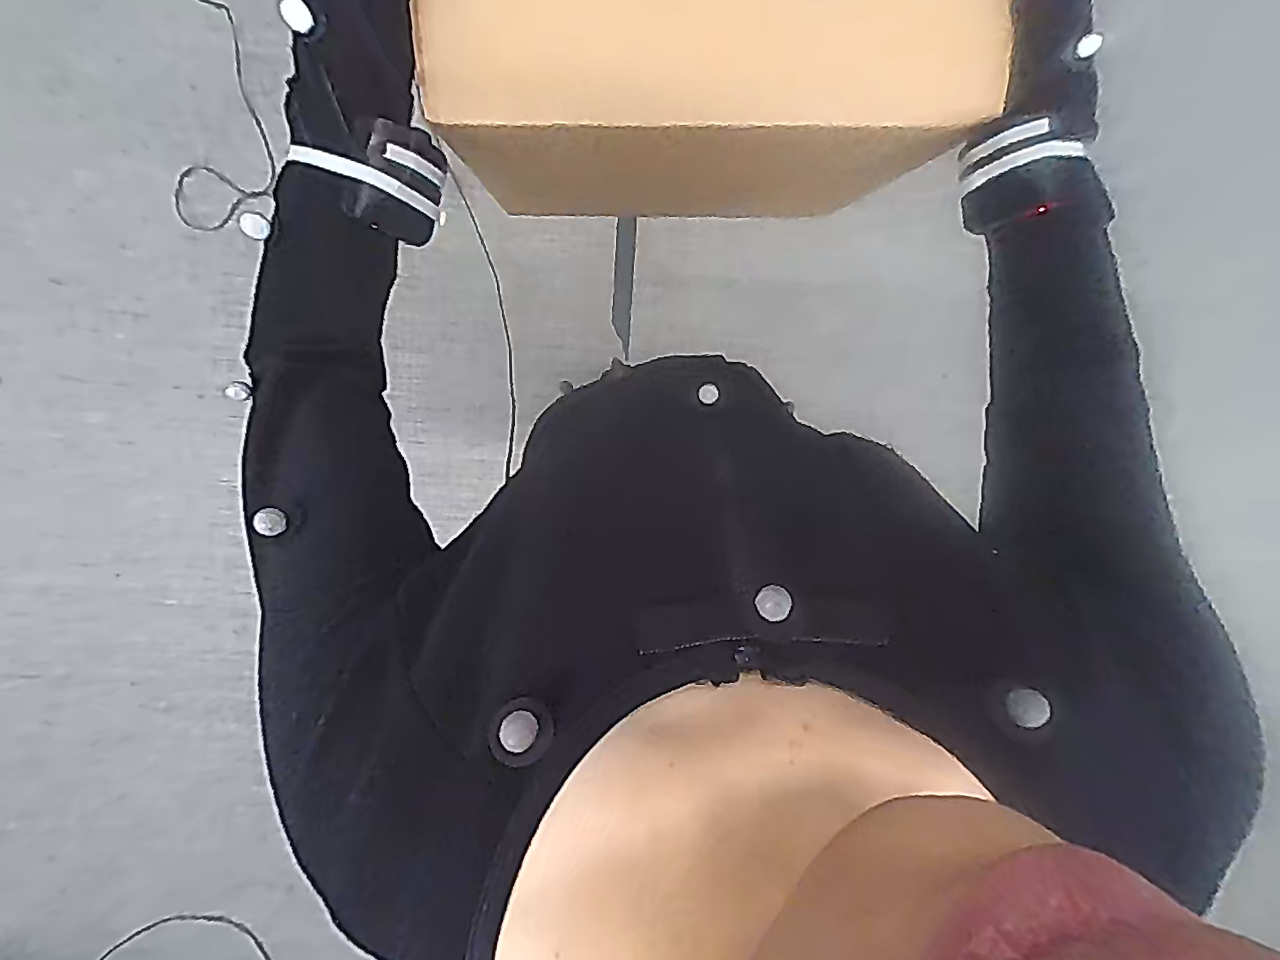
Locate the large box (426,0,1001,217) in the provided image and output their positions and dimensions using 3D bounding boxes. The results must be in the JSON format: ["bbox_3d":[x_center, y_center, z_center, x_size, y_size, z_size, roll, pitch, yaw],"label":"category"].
[{"bbox_3d":[0.042,-0.442,0.491,0.408,0.320,0.320,-2,105,-3],"label":"large box"}]
